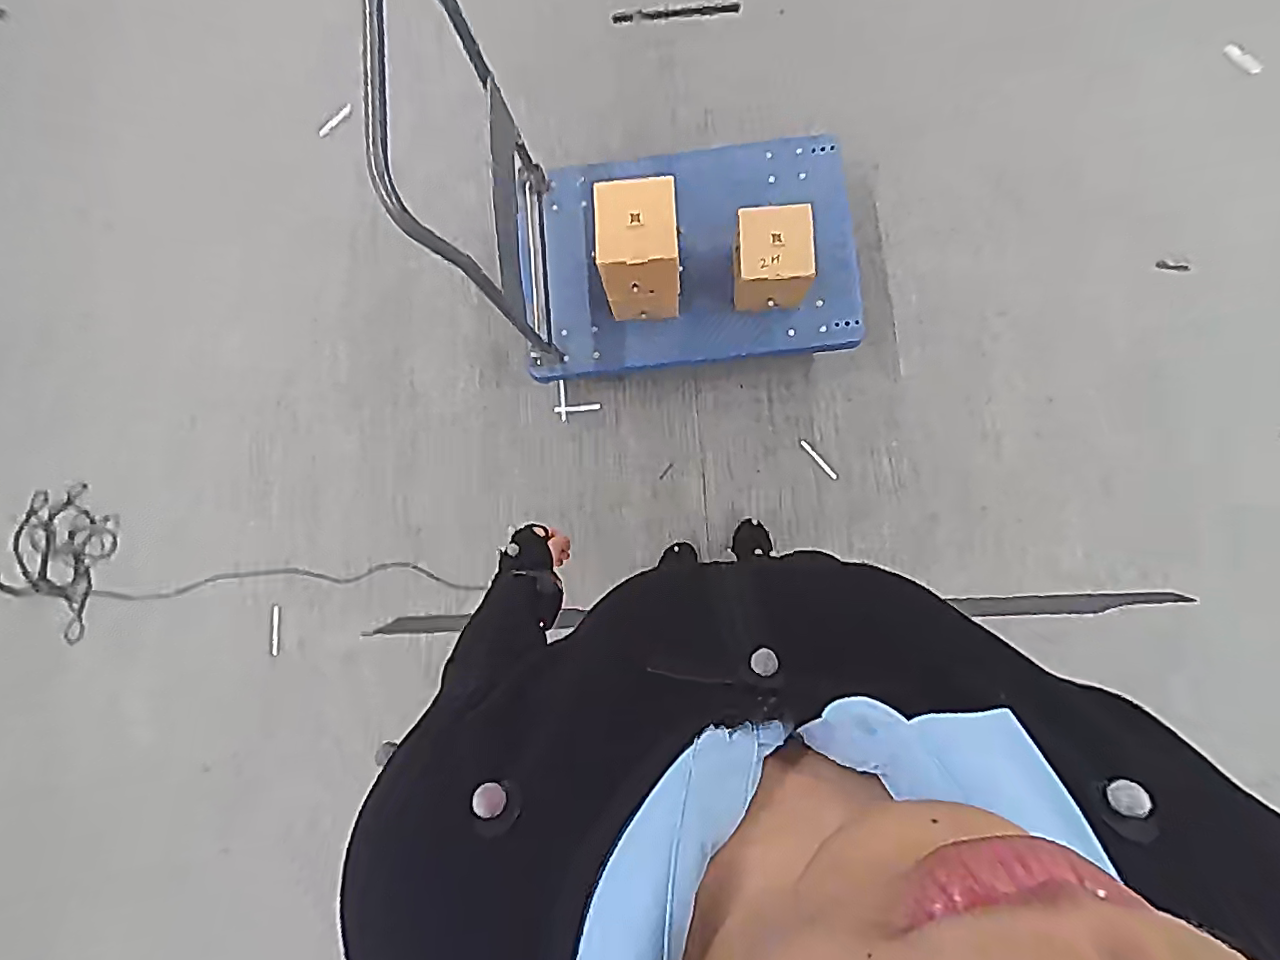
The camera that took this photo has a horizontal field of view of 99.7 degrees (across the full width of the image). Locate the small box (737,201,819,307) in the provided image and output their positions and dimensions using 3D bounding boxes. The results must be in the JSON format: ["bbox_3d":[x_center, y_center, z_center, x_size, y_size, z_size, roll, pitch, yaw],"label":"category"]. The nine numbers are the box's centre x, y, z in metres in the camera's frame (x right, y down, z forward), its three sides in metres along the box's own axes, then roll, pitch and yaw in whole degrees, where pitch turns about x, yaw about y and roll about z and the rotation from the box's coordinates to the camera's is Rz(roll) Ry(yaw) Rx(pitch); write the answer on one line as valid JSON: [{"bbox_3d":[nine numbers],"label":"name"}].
[{"bbox_3d":[0.324,-0.536,1.296,0.168,0.176,0.179,-1,84,5],"label":"small box"}]

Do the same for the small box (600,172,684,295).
[{"bbox_3d":[0.006,-0.519,1.156,0.168,0.176,0.179,-3,85,4],"label":"small box"}]
